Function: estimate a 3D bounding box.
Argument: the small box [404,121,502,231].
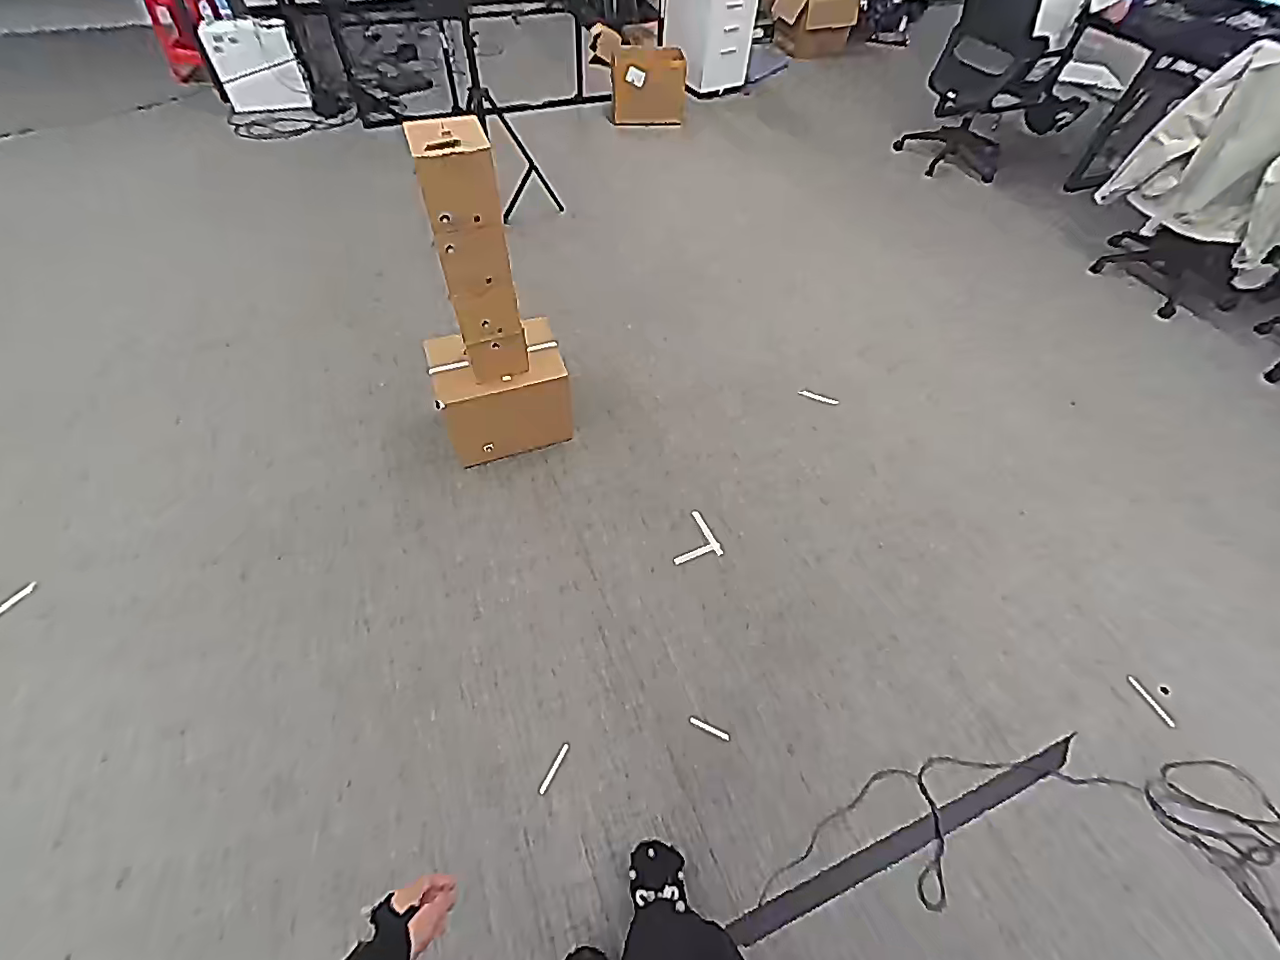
[{"bbox_3d":[-0.426,-0.694,1.249,0.168,0.176,0.179,-16,57,-14],"label":"small box"}]

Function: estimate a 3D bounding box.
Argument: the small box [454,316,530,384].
[{"bbox_3d":[-0.449,-0.417,1.653,0.179,0.176,0.168,-18,58,-17],"label":"small box"}]

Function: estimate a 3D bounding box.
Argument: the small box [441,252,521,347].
[{"bbox_3d":[-0.443,-0.505,1.516,0.168,0.176,0.179,-18,58,-15],"label":"small box"}]
